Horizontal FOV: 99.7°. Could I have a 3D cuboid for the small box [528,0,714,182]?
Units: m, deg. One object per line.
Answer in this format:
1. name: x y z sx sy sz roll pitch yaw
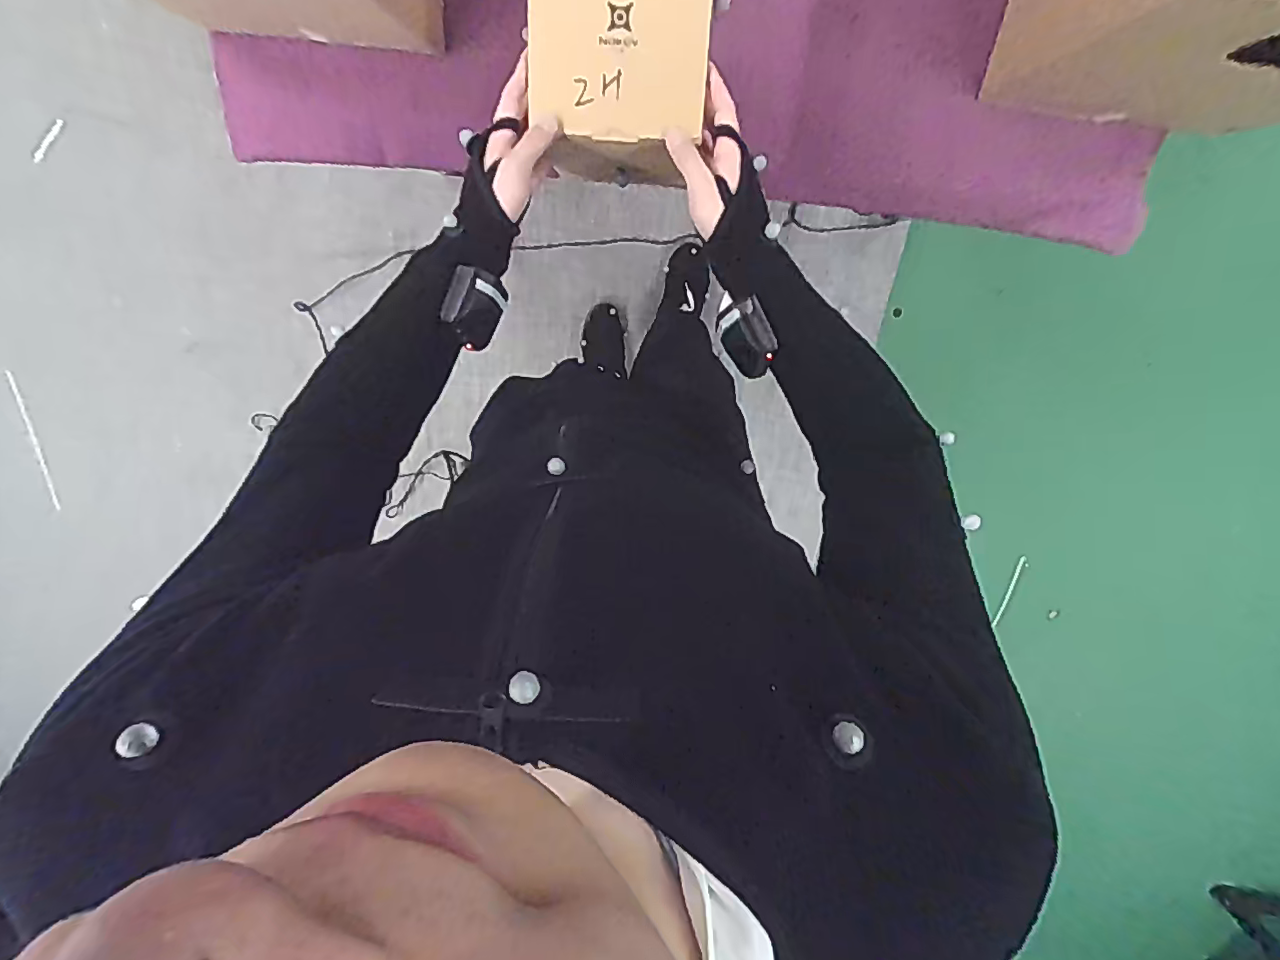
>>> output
1. small box: -0.015 -0.429 0.557 0.168 0.176 0.179 4 107 2
